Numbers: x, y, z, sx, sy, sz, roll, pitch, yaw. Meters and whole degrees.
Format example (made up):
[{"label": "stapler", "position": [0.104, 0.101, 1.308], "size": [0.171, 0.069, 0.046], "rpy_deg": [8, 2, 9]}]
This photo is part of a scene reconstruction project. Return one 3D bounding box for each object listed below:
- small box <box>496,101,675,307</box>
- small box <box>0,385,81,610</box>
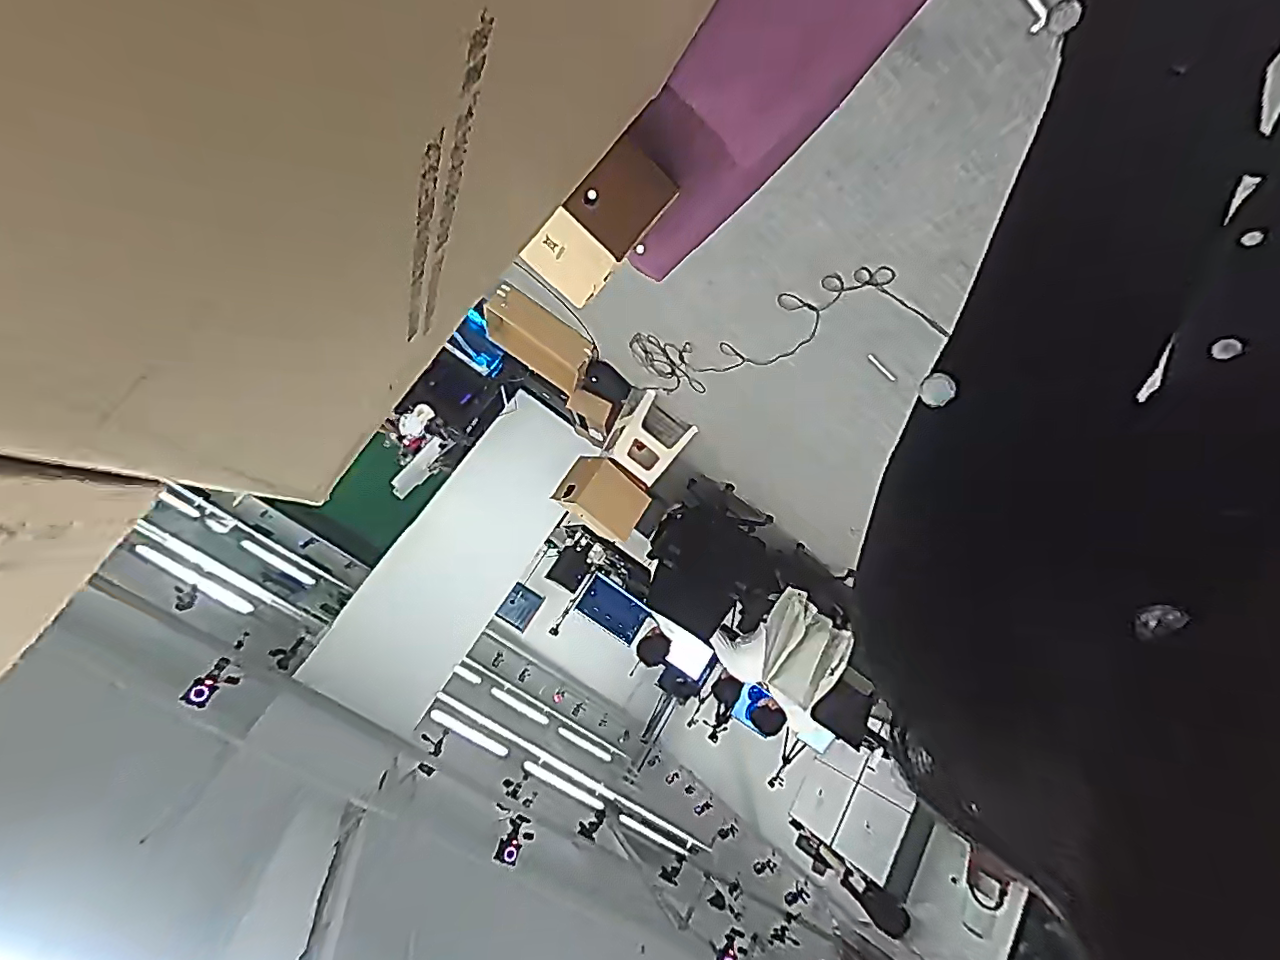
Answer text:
[{"label": "small box", "position": [-0.079, -0.399, 0.796], "size": [0.179, 0.176, 0.168], "rpy_deg": [41, 159, -15]}, {"label": "small box", "position": [-0.231, 0.011, 0.055], "size": [0.179, 0.176, 0.168], "rpy_deg": [36, 164, -18]}]
